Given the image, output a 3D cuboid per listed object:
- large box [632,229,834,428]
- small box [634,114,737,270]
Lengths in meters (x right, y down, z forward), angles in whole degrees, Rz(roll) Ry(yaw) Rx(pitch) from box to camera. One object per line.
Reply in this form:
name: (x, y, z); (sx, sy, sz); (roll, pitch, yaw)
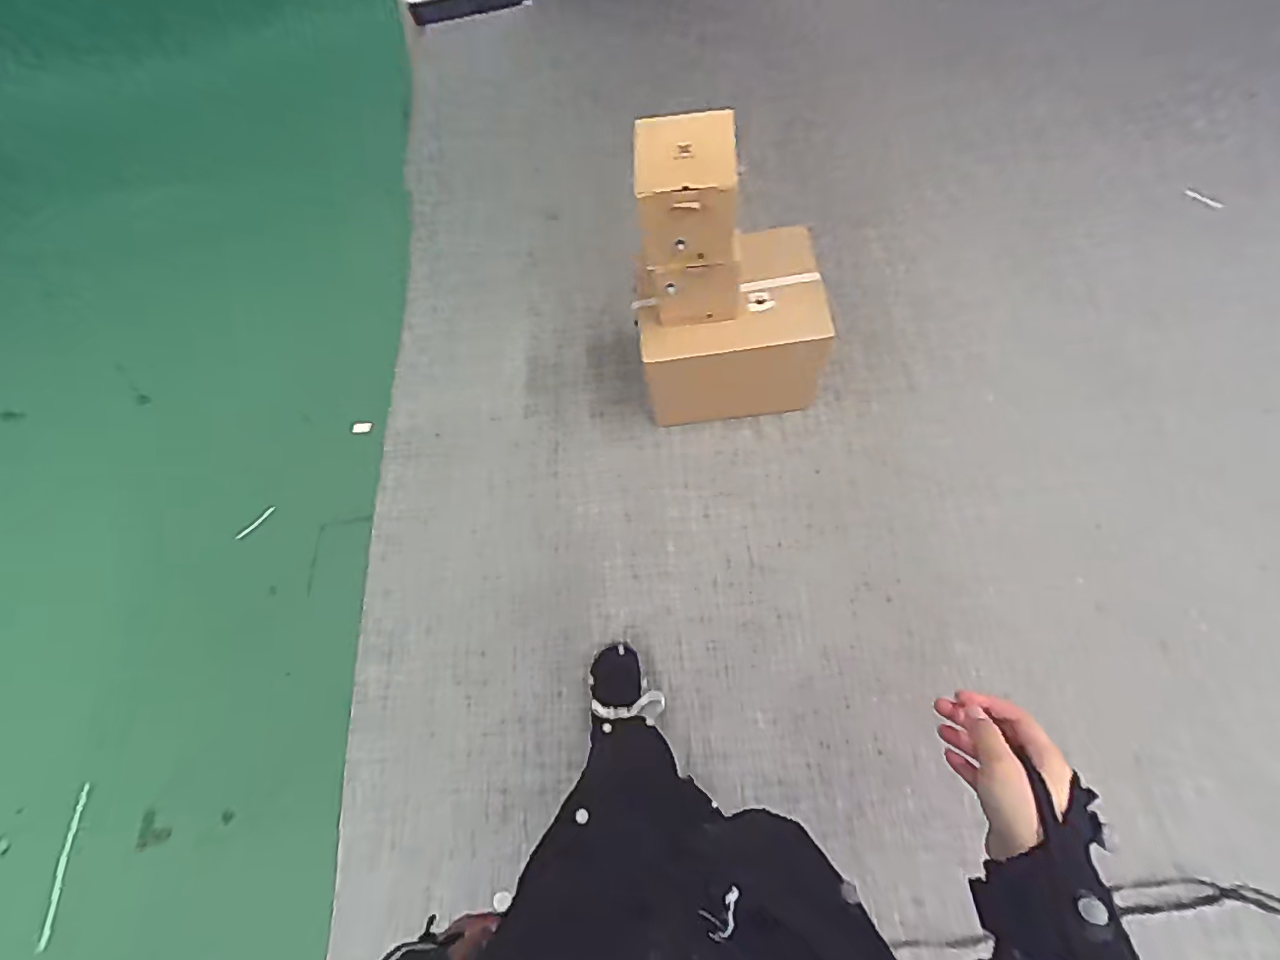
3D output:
large box: (0.206, -0.351, 1.320); (0.408, 0.320, 0.320); (-7, 69, 4)
small box: (0.081, -0.502, 0.956); (0.168, 0.176, 0.179); (-2, 69, 6)
